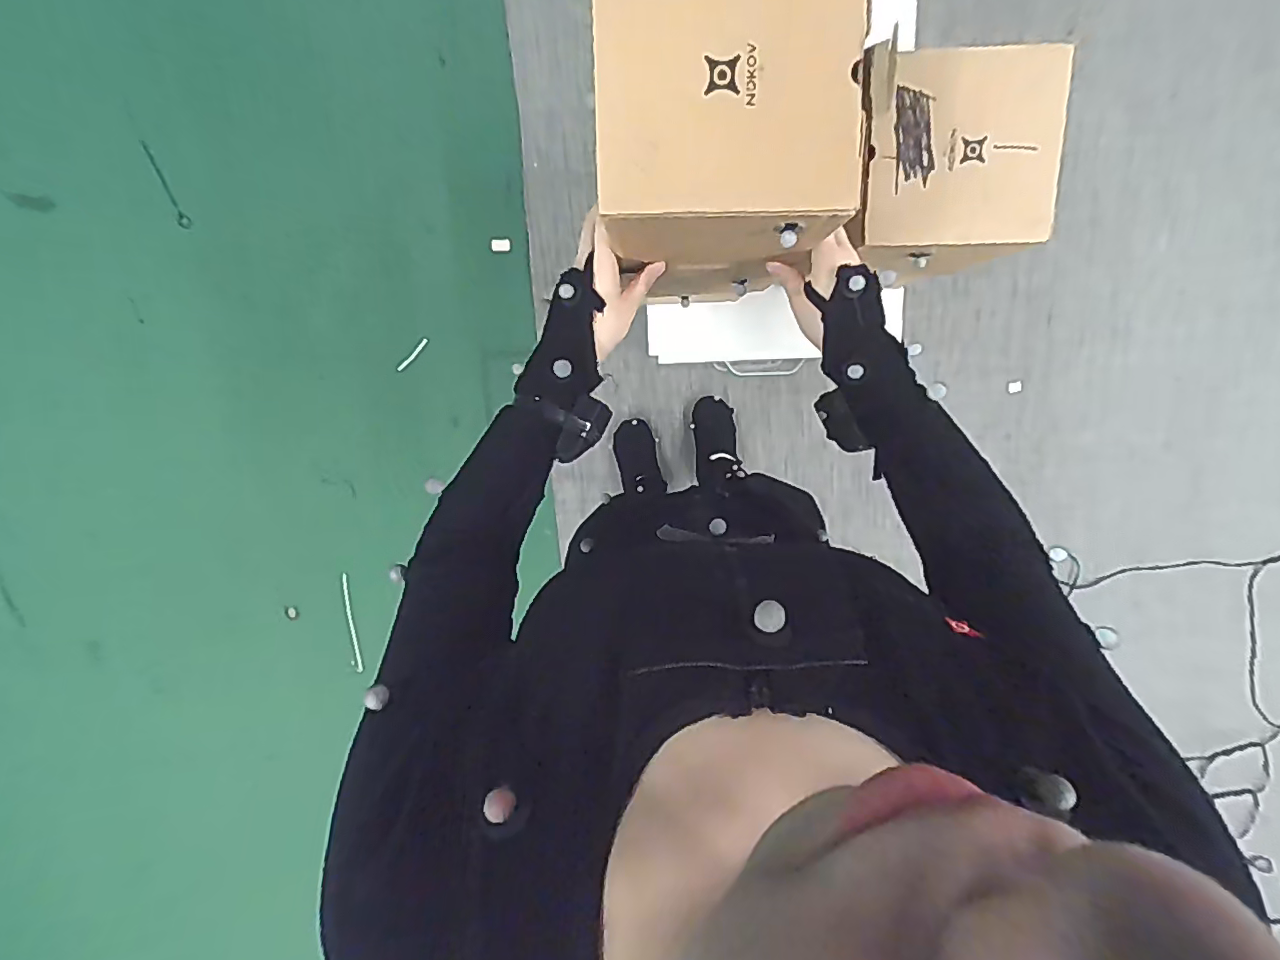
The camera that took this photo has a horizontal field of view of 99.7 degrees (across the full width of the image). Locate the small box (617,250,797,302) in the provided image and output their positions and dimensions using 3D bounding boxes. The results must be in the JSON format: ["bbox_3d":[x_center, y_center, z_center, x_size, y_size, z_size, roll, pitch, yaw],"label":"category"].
[{"bbox_3d":[0.061,-0.293,0.586,0.179,0.176,0.168,-3,99,1],"label":"small box"}]

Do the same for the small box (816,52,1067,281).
[{"bbox_3d":[0.296,-0.312,0.574,0.179,0.176,0.168,0,100,2],"label":"small box"}]

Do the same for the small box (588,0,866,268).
[{"bbox_3d":[0.057,-0.269,0.425,0.179,0.176,0.168,-1,100,1],"label":"small box"}]
